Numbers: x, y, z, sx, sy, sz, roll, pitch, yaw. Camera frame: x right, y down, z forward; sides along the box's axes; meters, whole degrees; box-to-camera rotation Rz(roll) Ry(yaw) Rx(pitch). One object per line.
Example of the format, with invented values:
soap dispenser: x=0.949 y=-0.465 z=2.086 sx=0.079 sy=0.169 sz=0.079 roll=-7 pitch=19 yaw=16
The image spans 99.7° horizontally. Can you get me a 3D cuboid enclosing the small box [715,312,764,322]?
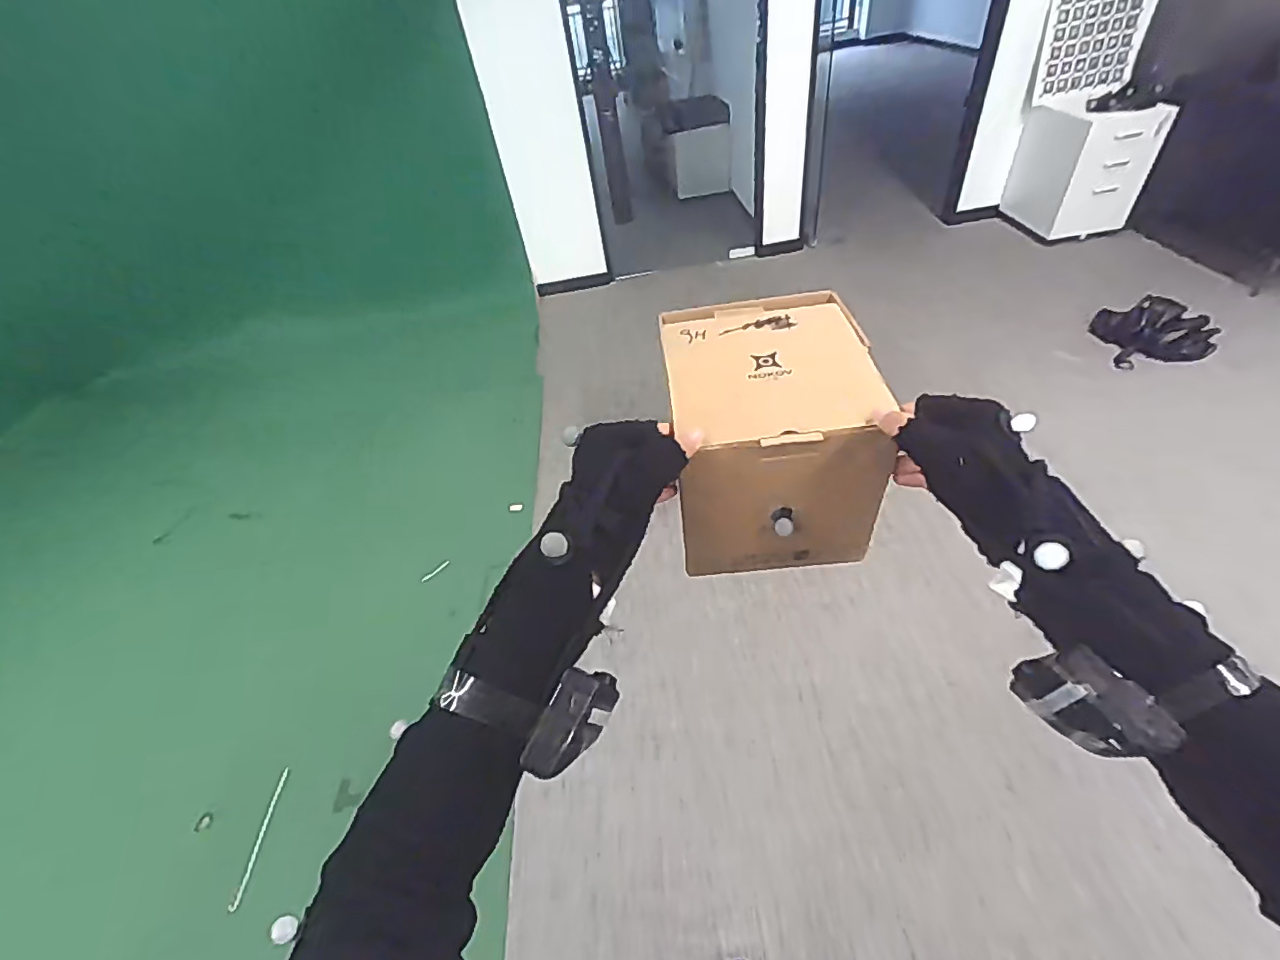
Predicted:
small box: x=0.341 y=-0.438 z=1.805 sx=0.168 sy=0.176 sz=0.179 roll=-4 pitch=42 yaw=3

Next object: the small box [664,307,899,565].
small box: x=0.115 y=-0.034 z=0.505 sx=0.168 sy=0.176 sz=0.179 roll=-6 pitch=46 yaw=4
